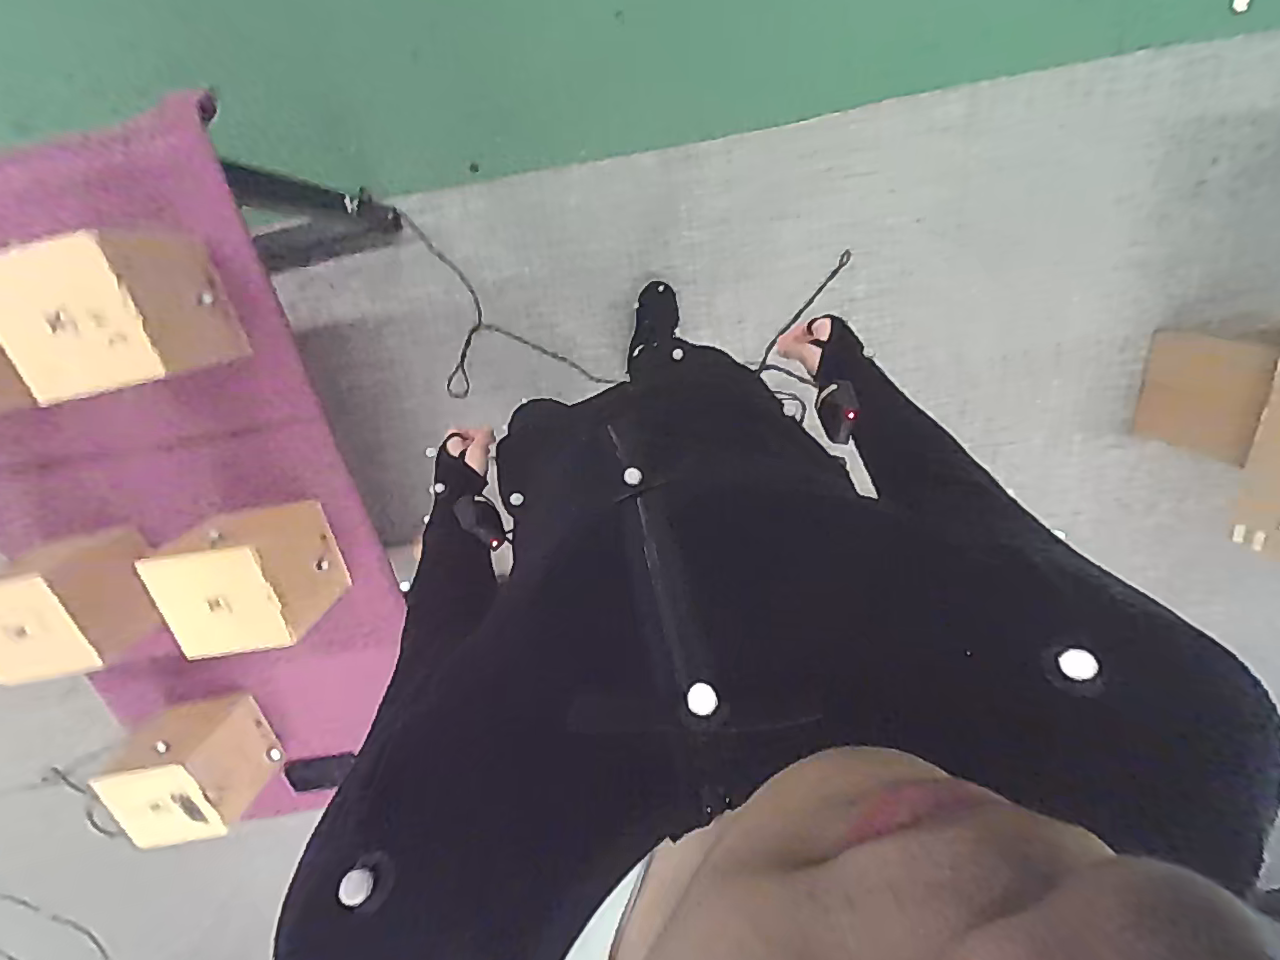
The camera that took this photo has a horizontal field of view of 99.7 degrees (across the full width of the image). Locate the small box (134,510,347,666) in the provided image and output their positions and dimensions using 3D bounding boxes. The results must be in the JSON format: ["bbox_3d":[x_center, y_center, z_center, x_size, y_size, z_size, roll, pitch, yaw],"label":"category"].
[{"bbox_3d":[-0.604,0.160,0.844,0.179,0.176,0.168,-9,110,4],"label":"small box"}]

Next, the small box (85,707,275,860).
[{"bbox_3d":[-0.807,0.539,0.978,0.179,0.176,0.168,-11,109,4],"label":"small box"}]

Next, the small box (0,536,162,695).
[{"bbox_3d":[-0.906,0.208,0.859,0.179,0.176,0.168,-12,110,3],"label":"small box"}]

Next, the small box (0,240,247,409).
[{"bbox_3d":[-0.677,-0.204,0.706,0.179,0.176,0.168,-12,111,3],"label":"small box"}]
